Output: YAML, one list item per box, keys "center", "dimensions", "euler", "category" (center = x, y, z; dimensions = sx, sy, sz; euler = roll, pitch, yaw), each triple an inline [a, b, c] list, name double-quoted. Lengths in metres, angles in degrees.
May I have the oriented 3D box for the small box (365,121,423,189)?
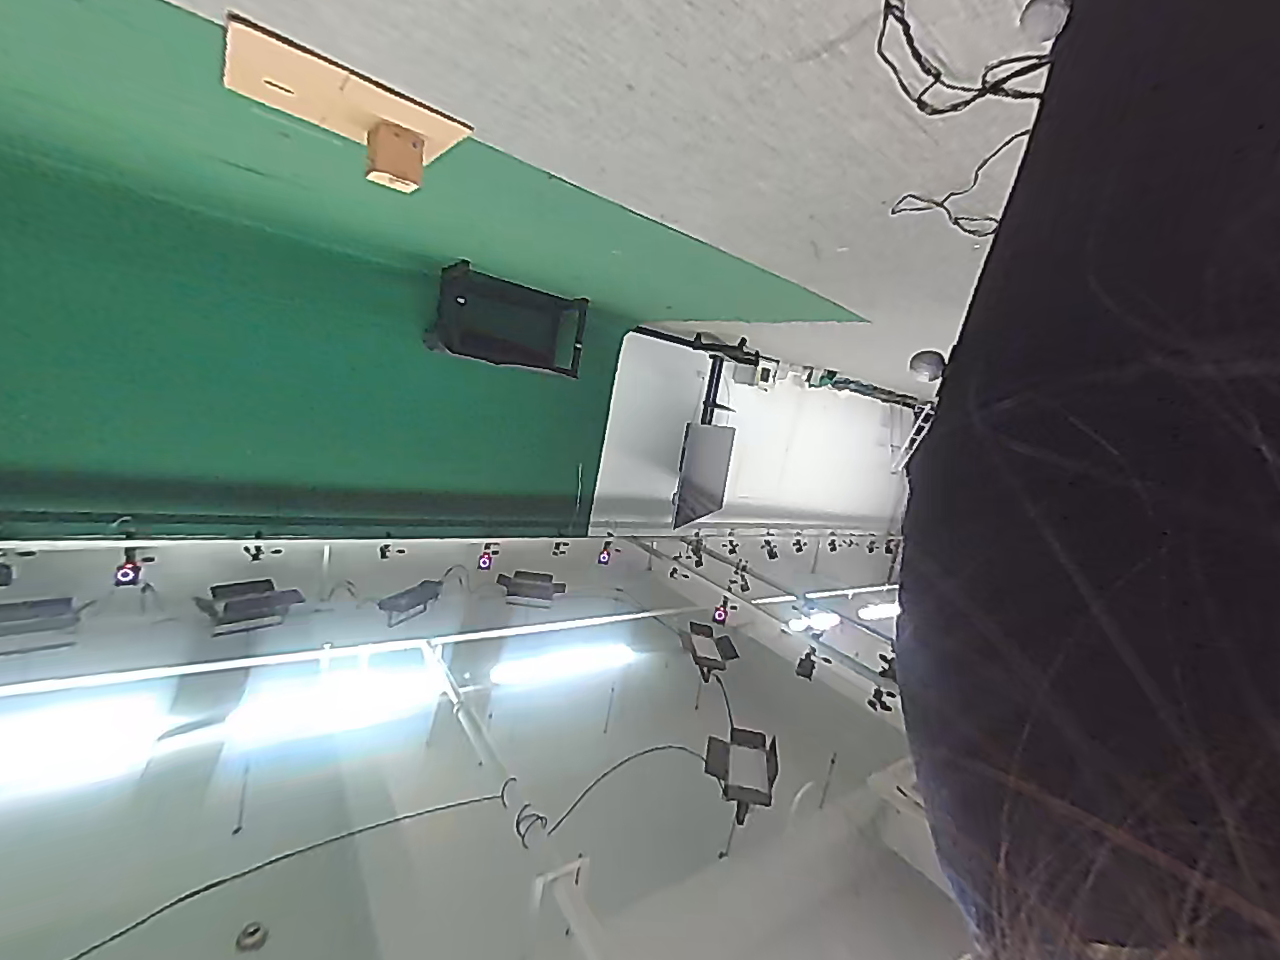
- center: [-0.954, -1.260, 2.096]
  dimensions: [0.168, 0.176, 0.179]
  euler: [2, -167, -40]
  category: "small box"
